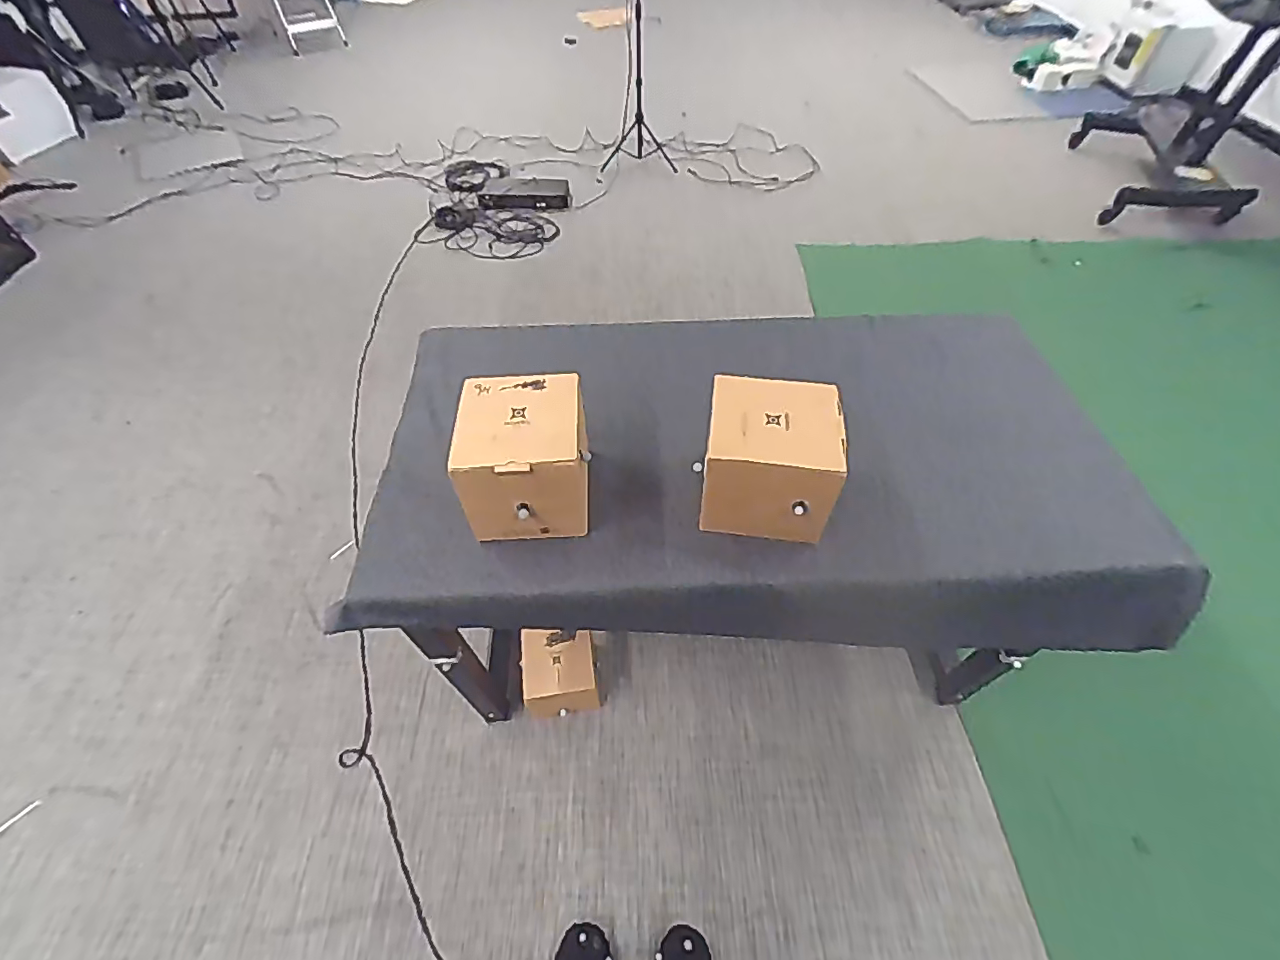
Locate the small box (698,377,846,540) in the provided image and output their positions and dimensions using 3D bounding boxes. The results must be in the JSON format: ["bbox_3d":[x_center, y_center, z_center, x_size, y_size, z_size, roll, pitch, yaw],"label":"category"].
[{"bbox_3d":[0.184,-0.028,0.795,0.179,0.176,0.168,5,51,6],"label":"small box"}]

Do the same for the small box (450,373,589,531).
[{"bbox_3d":[-0.163,-0.034,0.796,0.168,0.176,0.179,-2,51,-3],"label":"small box"}]
